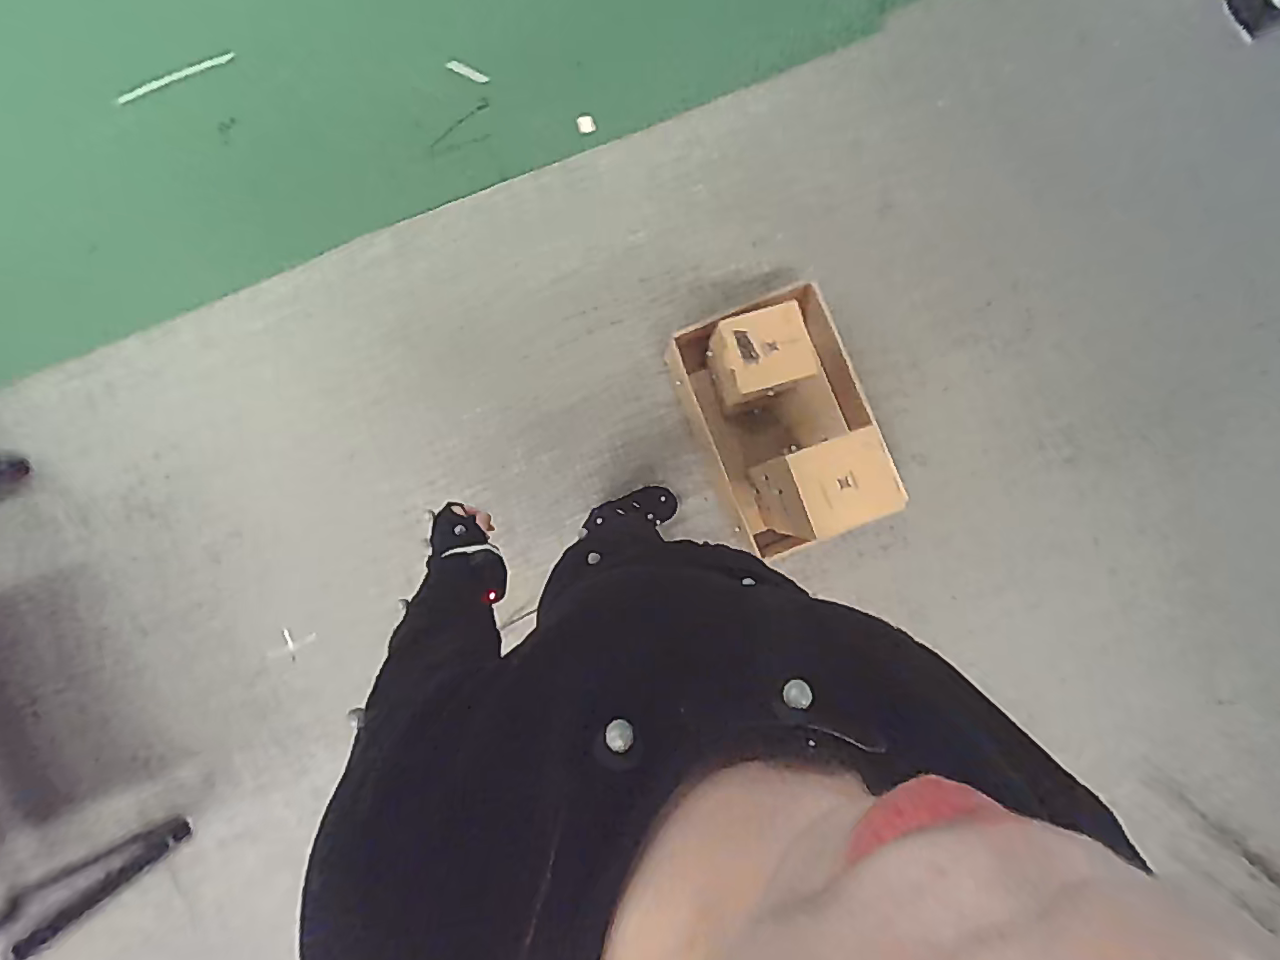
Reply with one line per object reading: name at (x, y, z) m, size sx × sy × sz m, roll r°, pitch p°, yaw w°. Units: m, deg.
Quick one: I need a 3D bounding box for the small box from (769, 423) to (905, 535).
small box at (0.374, -0.001, 1.056) m, size 0.179 × 0.176 × 0.168 m, roll -19°, pitch 88°, yaw 0°

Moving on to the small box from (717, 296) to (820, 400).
small box at (0.280, -0.289, 1.223) m, size 0.179 × 0.176 × 0.168 m, roll -15°, pitch 89°, yaw -1°
